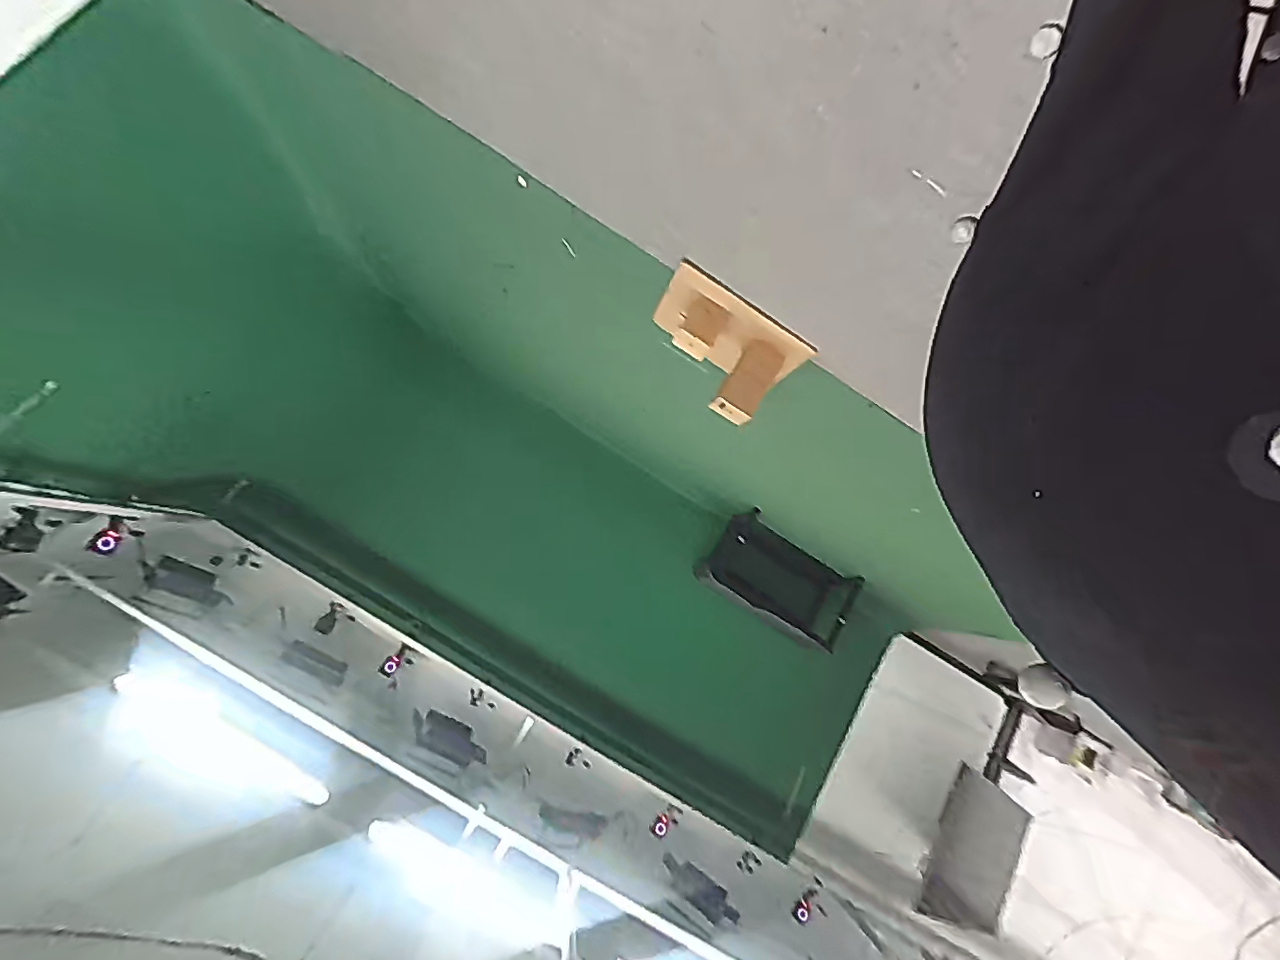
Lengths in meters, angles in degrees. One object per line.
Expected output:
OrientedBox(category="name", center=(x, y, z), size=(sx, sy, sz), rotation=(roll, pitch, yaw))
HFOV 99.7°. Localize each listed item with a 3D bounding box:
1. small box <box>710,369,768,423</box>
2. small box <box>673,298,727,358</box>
OrientedBox(category="small box", center=(0.456, -0.394, 2.498), size=(0.179, 0.176, 0.168), rotation=(31, 168, -8))
OrientedBox(category="small box", center=(0.279, -0.702, 2.504), size=(0.168, 0.176, 0.179), rotation=(32, 167, -3))
